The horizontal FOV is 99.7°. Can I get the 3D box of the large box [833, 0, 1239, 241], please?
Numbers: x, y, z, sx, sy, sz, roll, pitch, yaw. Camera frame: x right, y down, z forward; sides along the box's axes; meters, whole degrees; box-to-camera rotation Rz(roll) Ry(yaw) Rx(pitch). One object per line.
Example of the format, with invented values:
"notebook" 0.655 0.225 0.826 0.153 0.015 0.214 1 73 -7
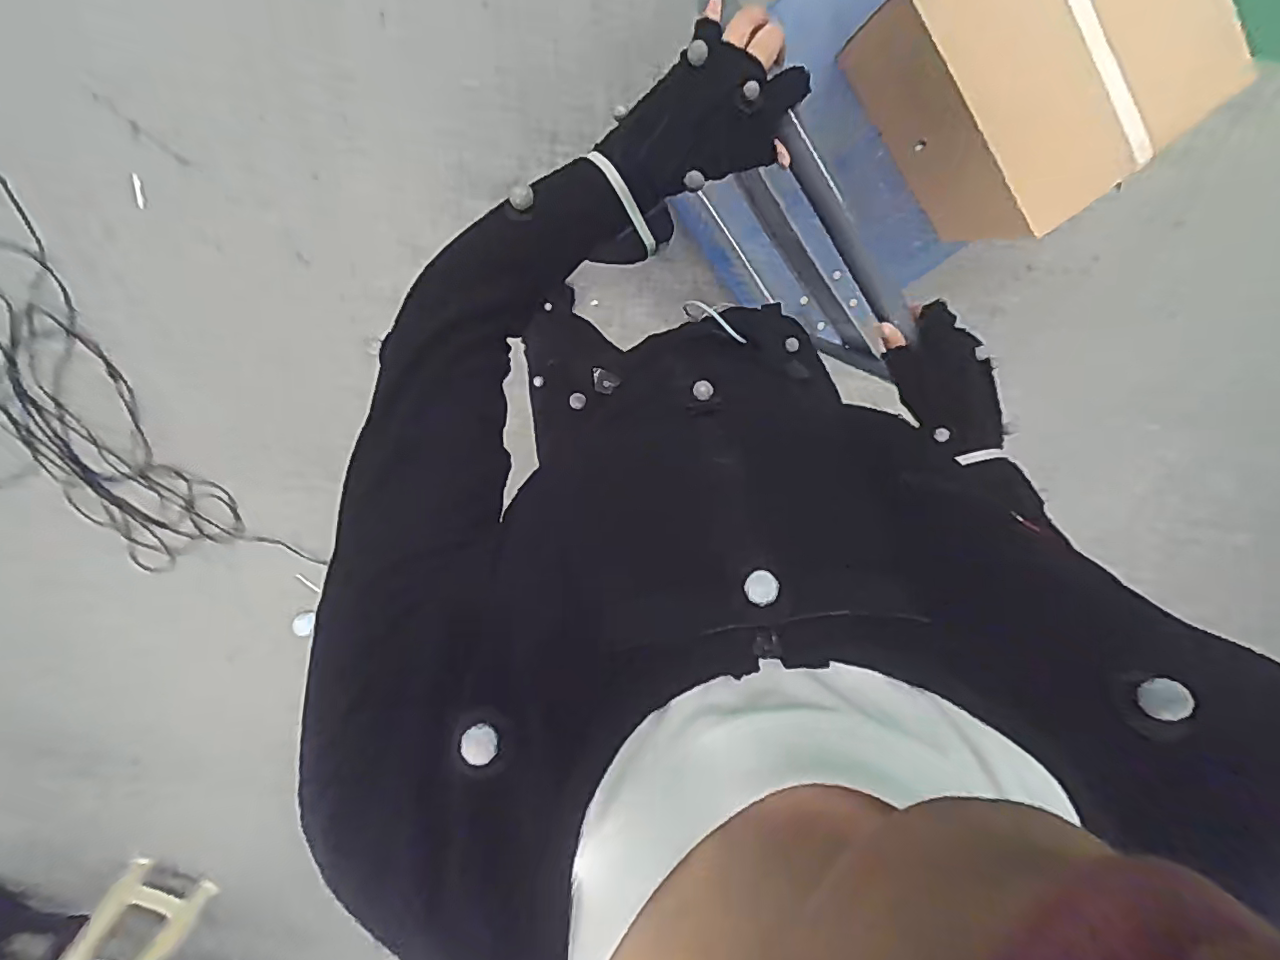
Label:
"large box" 0.583 -0.650 0.864 0.320 0.320 0.408 -37 106 16
